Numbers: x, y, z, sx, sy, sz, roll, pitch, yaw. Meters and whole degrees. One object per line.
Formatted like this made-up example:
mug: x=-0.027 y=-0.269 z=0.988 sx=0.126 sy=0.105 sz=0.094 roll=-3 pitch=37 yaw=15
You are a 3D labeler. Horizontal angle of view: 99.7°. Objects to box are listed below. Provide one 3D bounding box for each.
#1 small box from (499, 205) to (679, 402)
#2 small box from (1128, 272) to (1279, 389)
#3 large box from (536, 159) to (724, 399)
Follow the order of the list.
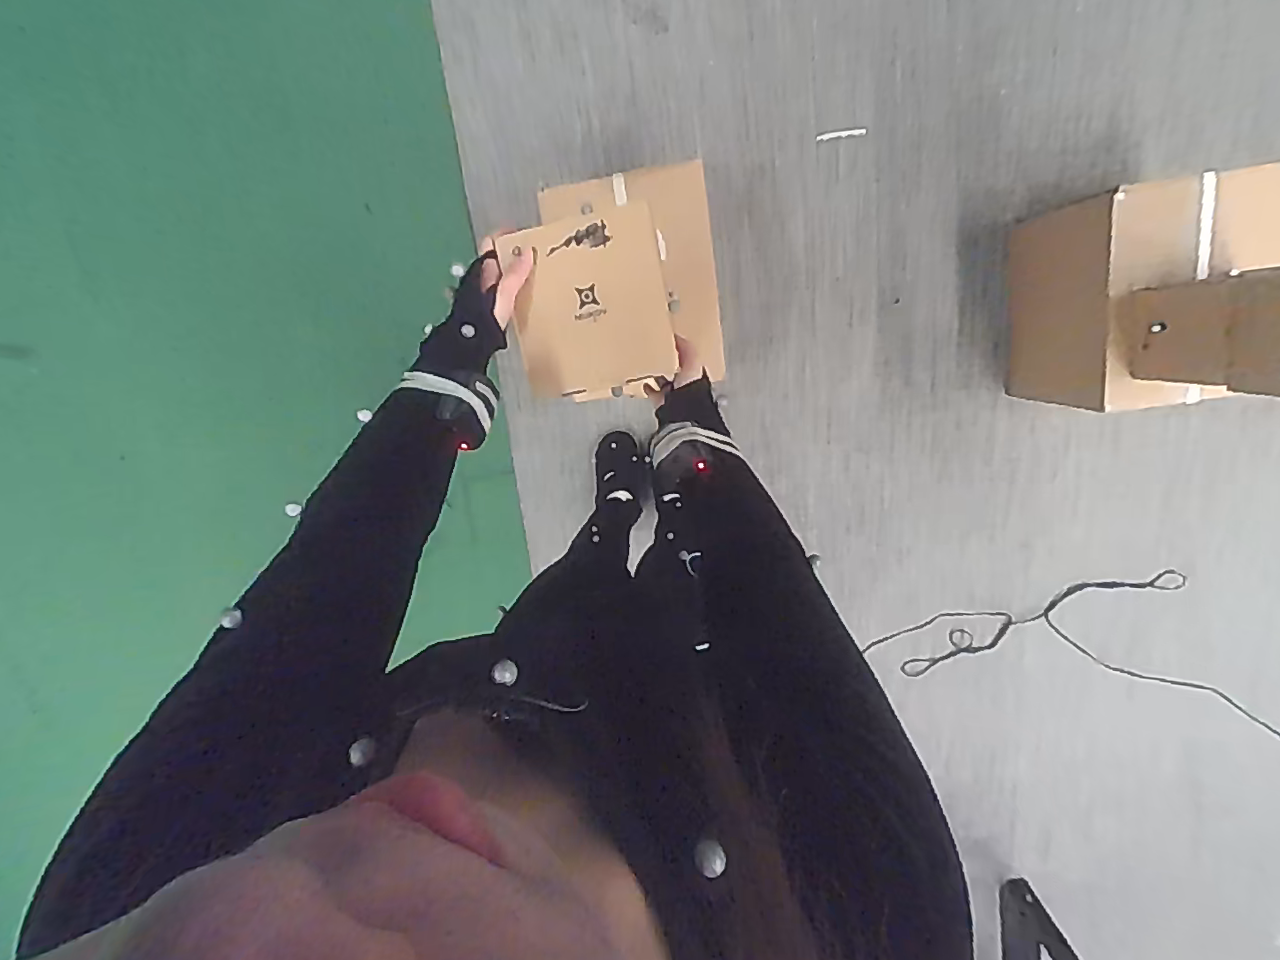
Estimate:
small box: x=-0.046 y=-0.202 z=0.646 sx=0.168 sy=0.176 sz=0.179 roll=-10 pitch=103 yaw=6
small box: x=1.001 y=-0.259 z=0.927 sx=0.179 sy=0.176 sz=0.168 roll=-9 pitch=105 yaw=6
large box: x=-0.005 y=-0.409 z=1.183 sx=0.320 sy=0.320 sz=0.408 roll=-7 pitch=103 yaw=5
